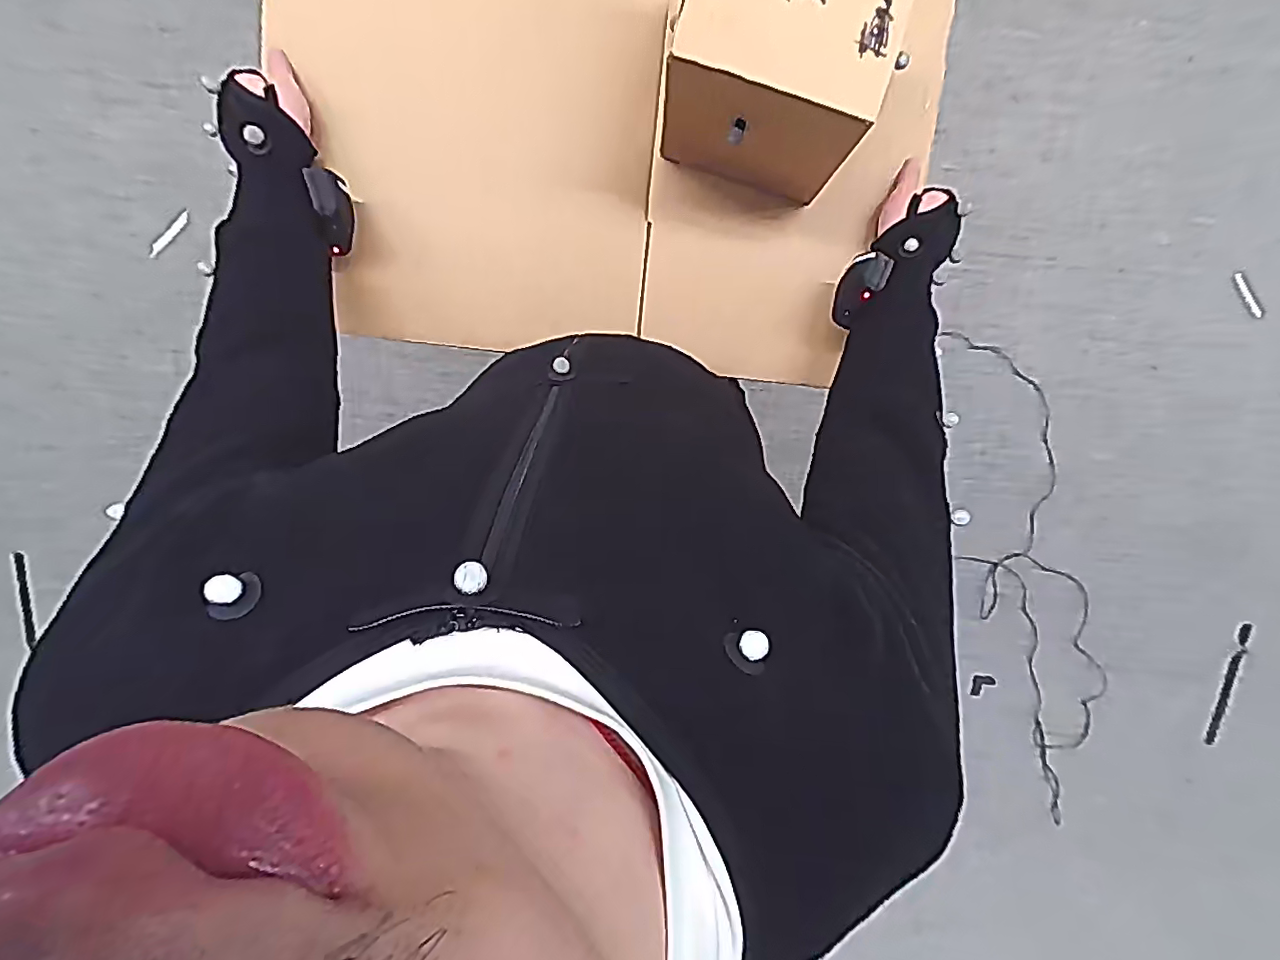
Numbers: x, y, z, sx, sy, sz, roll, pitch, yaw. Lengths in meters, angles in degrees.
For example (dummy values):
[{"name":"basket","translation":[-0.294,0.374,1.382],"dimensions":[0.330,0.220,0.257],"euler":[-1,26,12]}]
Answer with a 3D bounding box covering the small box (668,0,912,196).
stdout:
[{"name":"small box","translation":[0.130,-0.398,0.508],"dimensions":[0.179,0.176,0.168],"euler":[17,97,-1]}]
